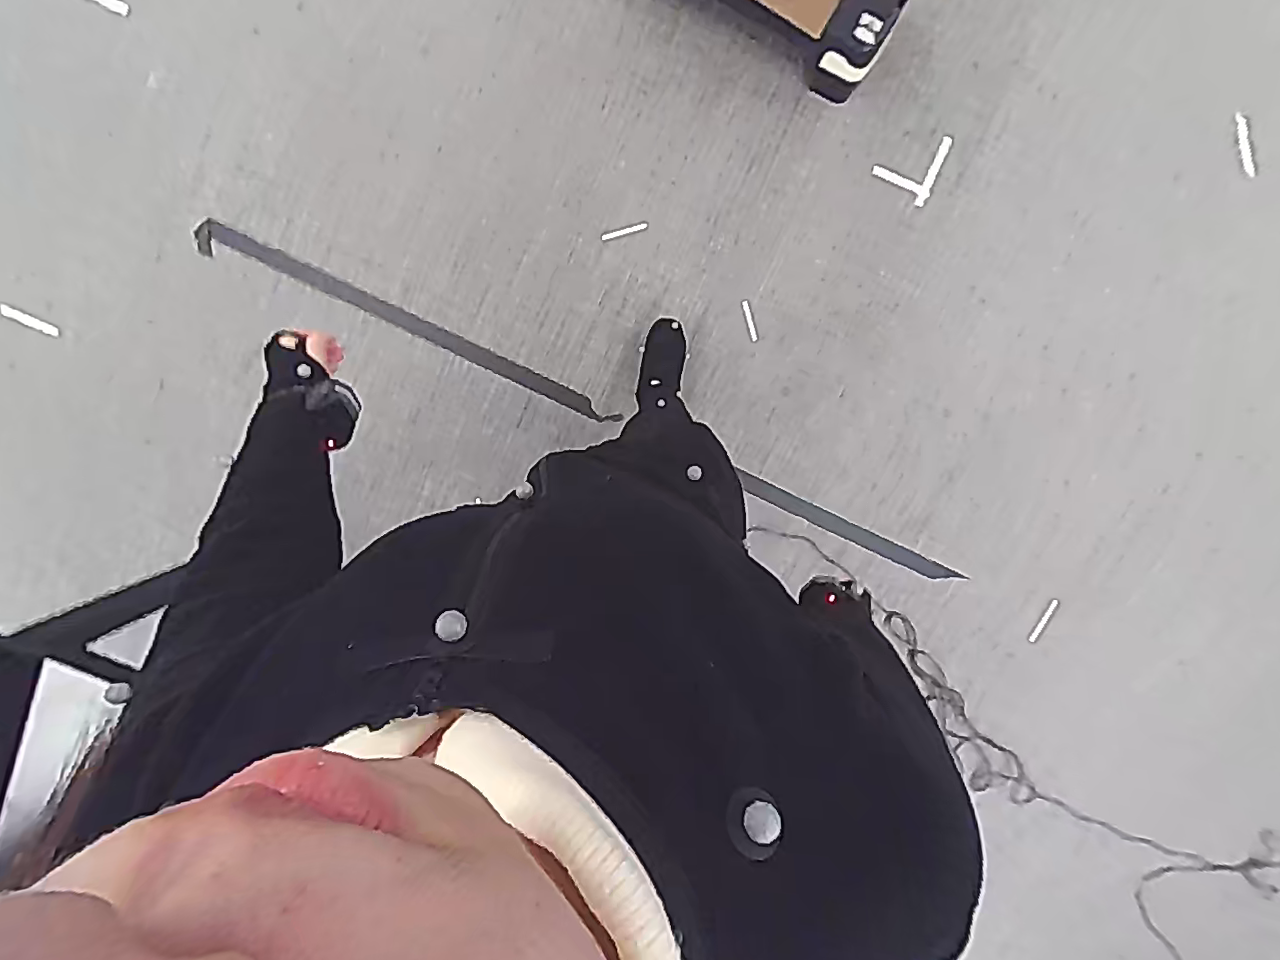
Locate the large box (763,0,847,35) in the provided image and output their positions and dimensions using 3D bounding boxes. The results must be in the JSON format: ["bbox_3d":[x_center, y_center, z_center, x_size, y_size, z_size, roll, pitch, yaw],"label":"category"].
[{"bbox_3d":[0.284,-1.129,0.961,0.408,0.320,0.320,28,97,-4],"label":"large box"}]

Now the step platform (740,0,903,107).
[{"bbox_3d":[0.258,-1.175,1.195,0.684,0.204,0.286,30,98,-4],"label":"step platform"}]
